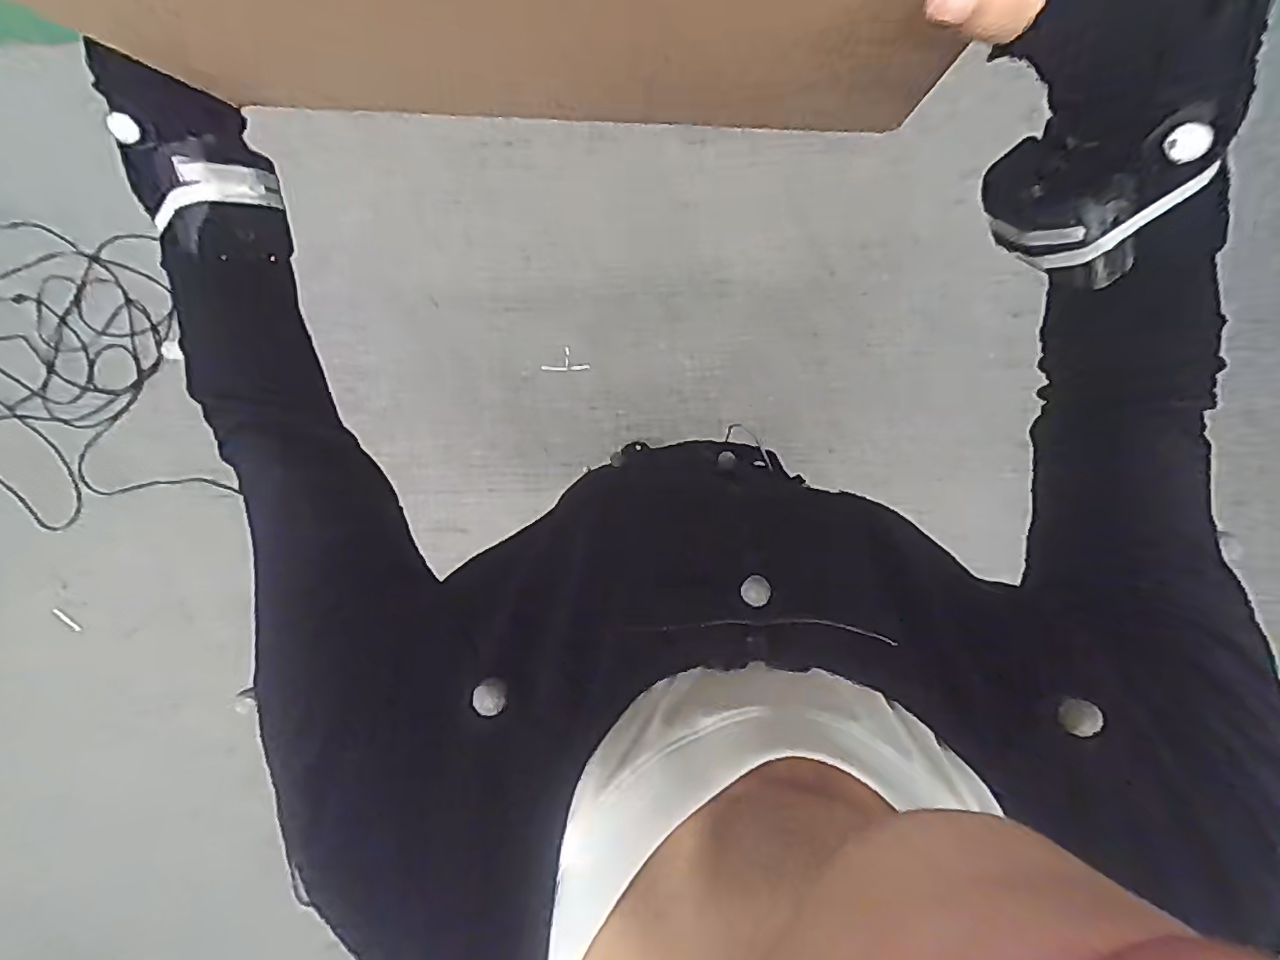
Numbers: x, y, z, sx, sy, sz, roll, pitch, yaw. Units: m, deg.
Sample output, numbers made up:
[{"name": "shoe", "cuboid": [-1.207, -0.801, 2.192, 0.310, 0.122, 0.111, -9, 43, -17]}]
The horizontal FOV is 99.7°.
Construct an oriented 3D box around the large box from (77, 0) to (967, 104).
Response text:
[{"name": "large box", "cuboid": [-0.064, -0.333, 0.138, 0.408, 0.320, 0.320, 7, 106, 6]}]
